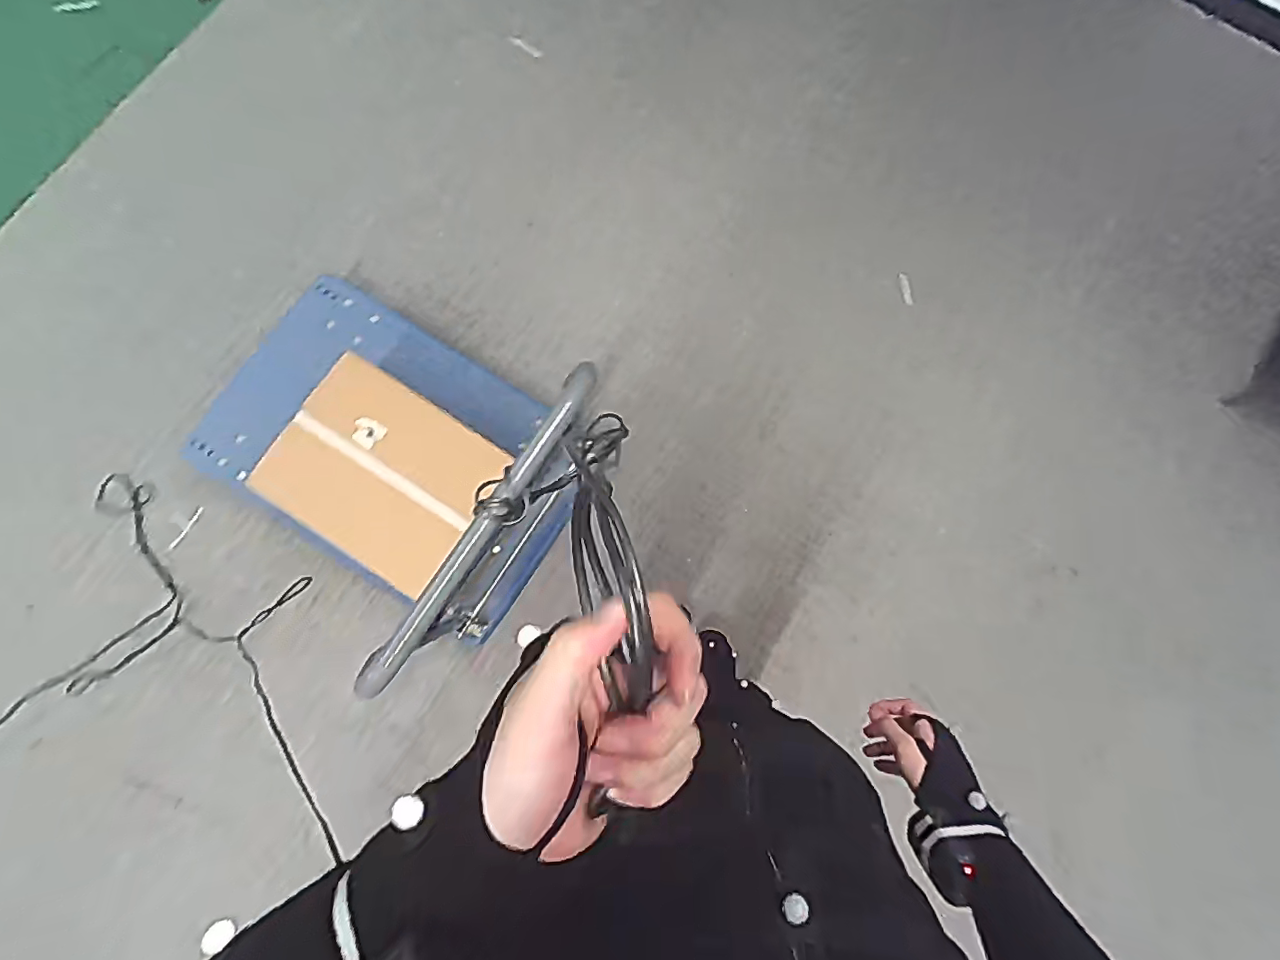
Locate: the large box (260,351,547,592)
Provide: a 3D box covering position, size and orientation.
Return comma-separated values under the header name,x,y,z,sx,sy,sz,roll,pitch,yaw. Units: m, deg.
name,x,y,z,sx,sy,sz,roll,pitch,yaw
large box,-0.467,0.000,1.164,0.408,0.320,0.320,33,81,4
